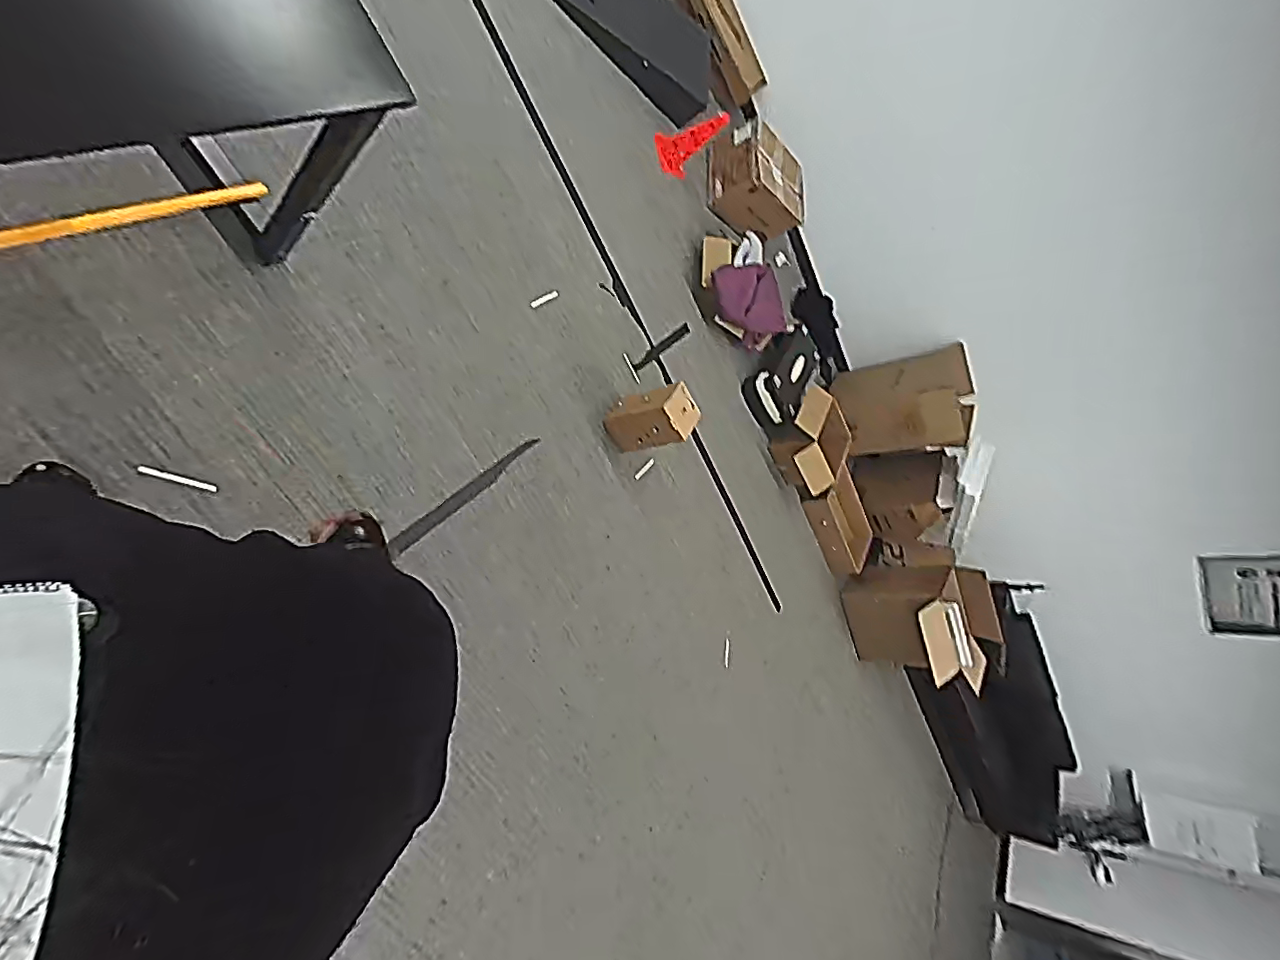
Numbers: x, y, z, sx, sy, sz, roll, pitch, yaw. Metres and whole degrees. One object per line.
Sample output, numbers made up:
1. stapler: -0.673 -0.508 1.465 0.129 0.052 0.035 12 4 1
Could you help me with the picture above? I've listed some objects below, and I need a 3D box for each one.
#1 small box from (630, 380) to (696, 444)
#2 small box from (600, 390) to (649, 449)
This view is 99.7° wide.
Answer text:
1. small box: 0.084 -0.258 2.097 0.168 0.176 0.179 56 48 -26
2. small box: -0.031 -0.243 2.213 0.179 0.176 0.168 57 47 -25
